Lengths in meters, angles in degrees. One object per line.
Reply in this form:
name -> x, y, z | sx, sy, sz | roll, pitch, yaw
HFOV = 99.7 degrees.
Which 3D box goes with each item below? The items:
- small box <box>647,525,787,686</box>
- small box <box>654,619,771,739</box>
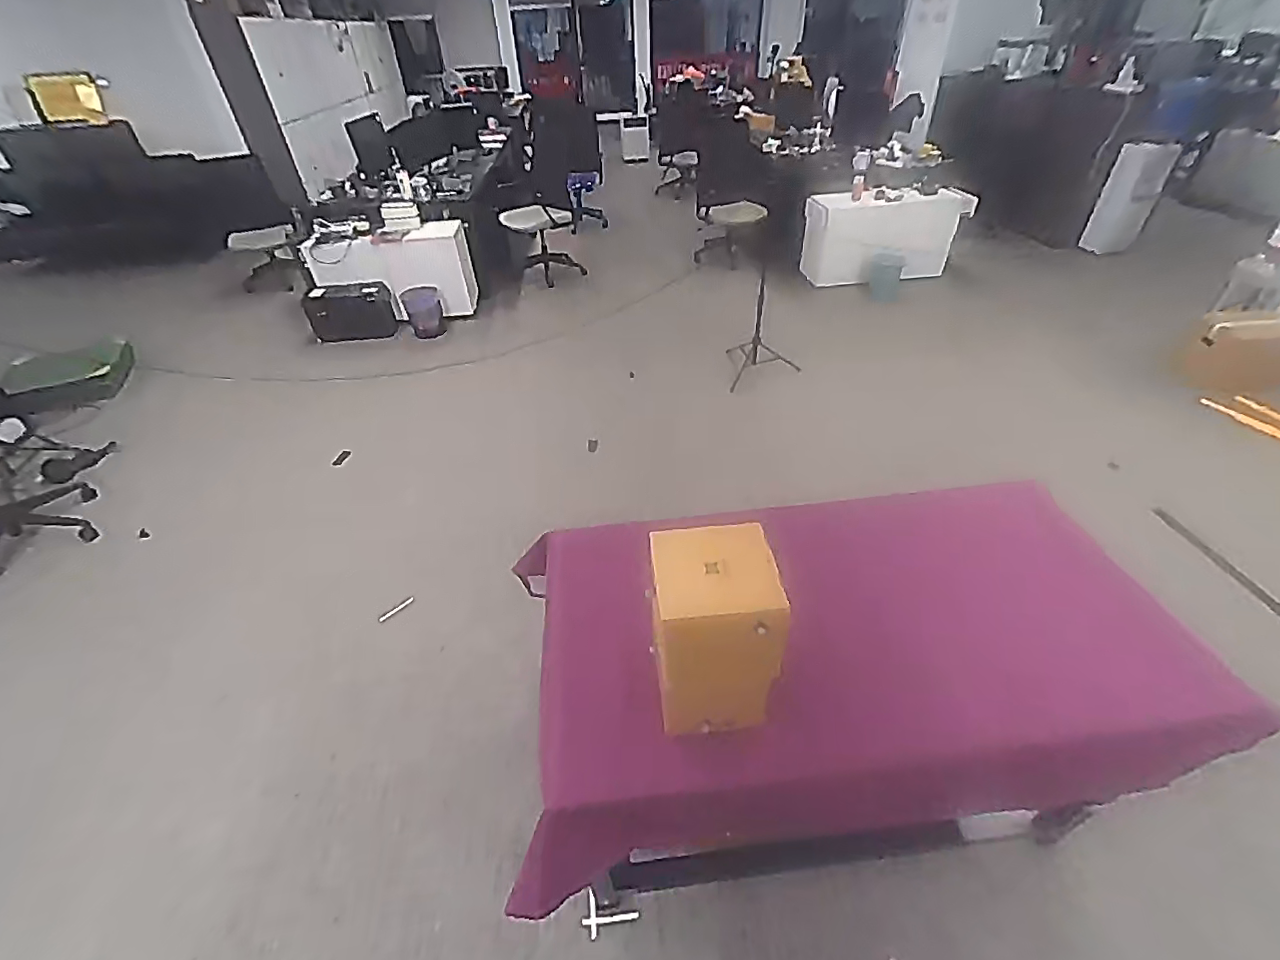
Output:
small box -> 0.107, 0.190, 0.811 | 0.179, 0.176, 0.168 | -5, 40, -1
small box -> 0.113, 0.310, 0.919 | 0.168, 0.176, 0.179 | -6, 41, -1
